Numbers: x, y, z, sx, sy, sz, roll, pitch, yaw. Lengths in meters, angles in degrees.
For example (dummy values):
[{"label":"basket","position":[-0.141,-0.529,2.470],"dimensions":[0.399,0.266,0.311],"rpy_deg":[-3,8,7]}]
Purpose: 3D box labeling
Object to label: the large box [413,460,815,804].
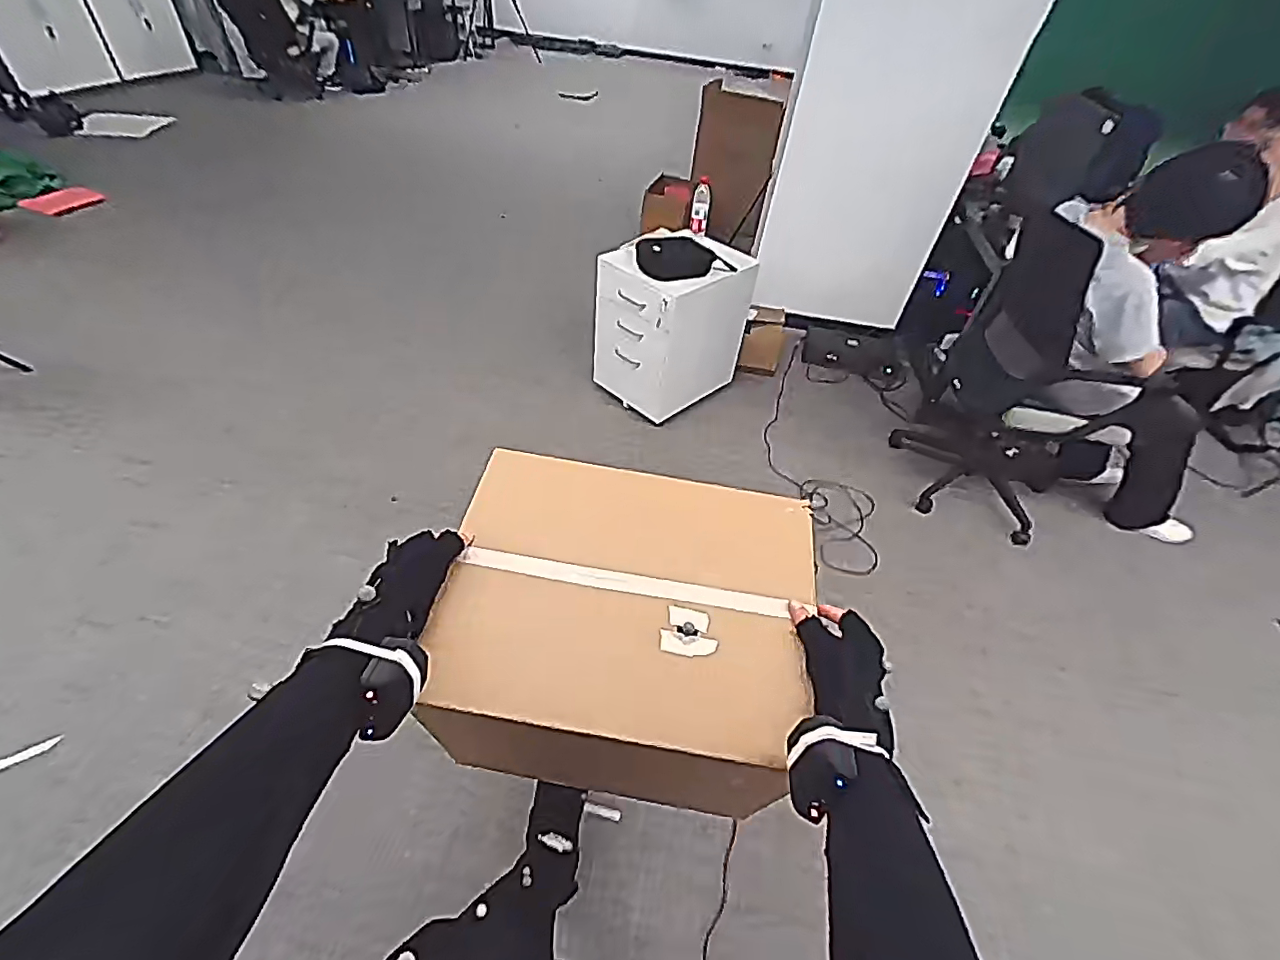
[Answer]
[{"label":"large box","position":[-0.022,0.211,0.728],"dimensions":[0.408,0.320,0.320],"rpy_deg":[10,52,1]}]
